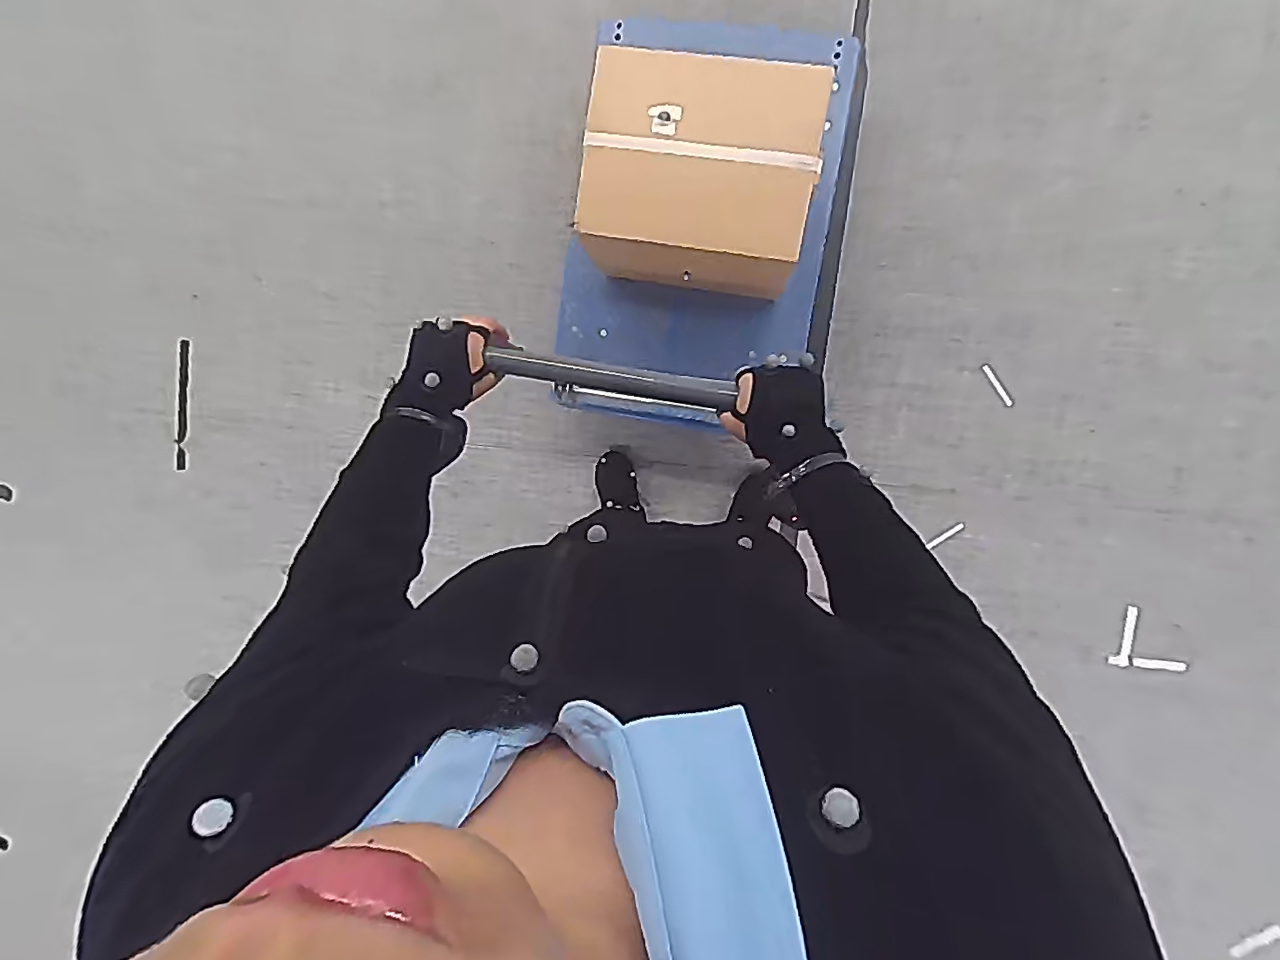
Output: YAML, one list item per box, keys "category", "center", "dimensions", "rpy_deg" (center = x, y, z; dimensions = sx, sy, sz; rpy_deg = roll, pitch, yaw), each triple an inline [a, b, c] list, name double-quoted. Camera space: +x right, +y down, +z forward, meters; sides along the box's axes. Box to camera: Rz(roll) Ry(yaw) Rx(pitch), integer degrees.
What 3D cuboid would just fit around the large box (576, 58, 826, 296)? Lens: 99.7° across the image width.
- category: "large box"
  center: [0.121, -0.580, 1.092]
  dimensions: [0.408, 0.320, 0.320]
  rpy_deg: [10, 97, 8]
